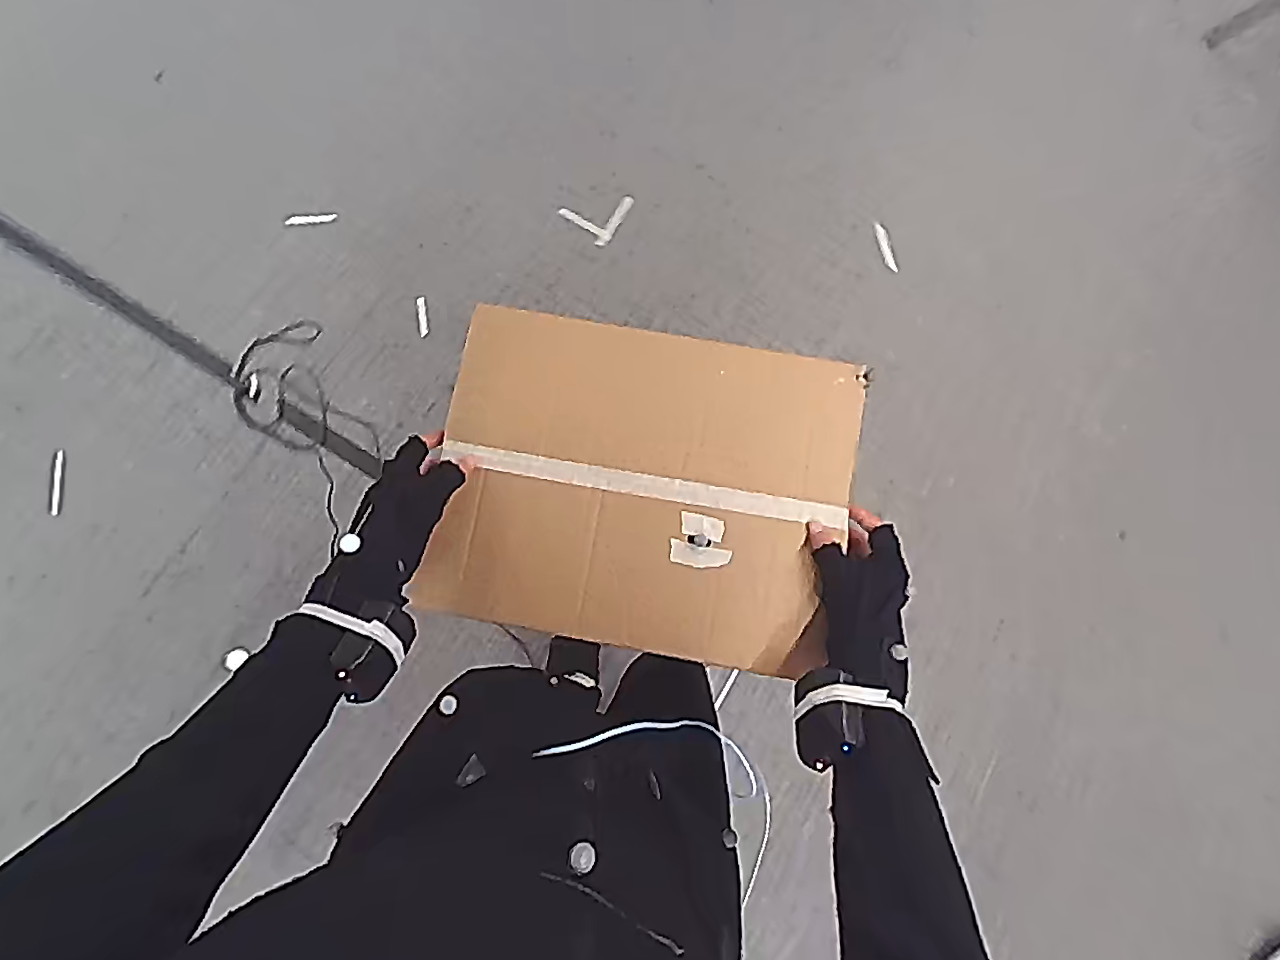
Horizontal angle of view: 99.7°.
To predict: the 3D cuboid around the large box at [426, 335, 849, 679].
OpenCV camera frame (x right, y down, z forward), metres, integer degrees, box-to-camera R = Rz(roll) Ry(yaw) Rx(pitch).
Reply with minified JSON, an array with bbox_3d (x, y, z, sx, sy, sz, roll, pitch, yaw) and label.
[{"bbox_3d":[0.003,0.040,0.699,0.408,0.320,0.320,9,83,2],"label":"large box"}]
